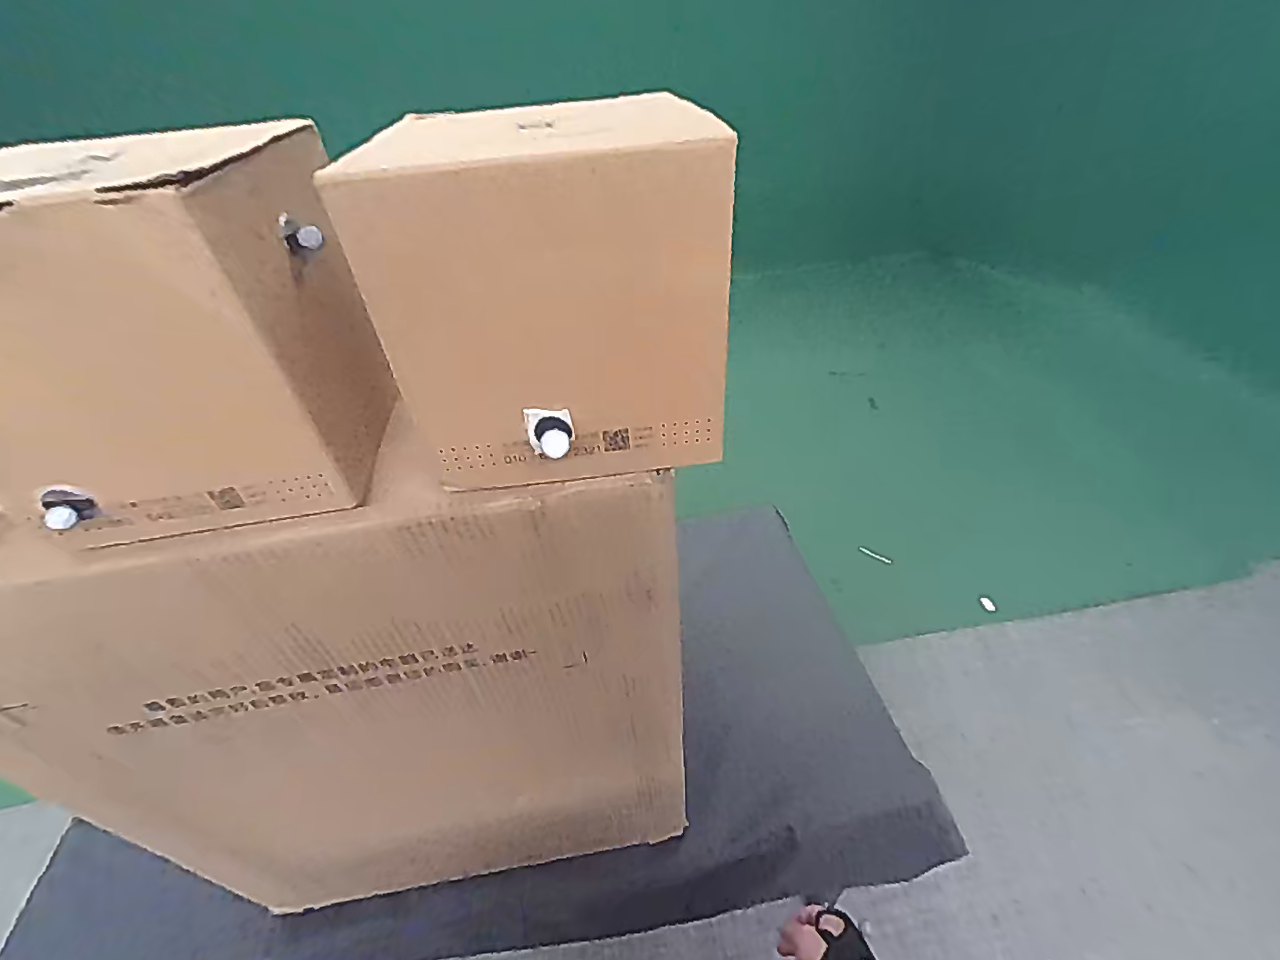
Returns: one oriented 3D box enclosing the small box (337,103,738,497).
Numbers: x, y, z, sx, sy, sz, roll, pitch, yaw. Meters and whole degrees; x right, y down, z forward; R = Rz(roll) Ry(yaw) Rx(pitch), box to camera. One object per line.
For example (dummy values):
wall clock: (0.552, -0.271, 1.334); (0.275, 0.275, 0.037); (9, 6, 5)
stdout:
small box: (-0.046, -0.114, 0.332); (0.168, 0.176, 0.179); (-8, 42, -3)
